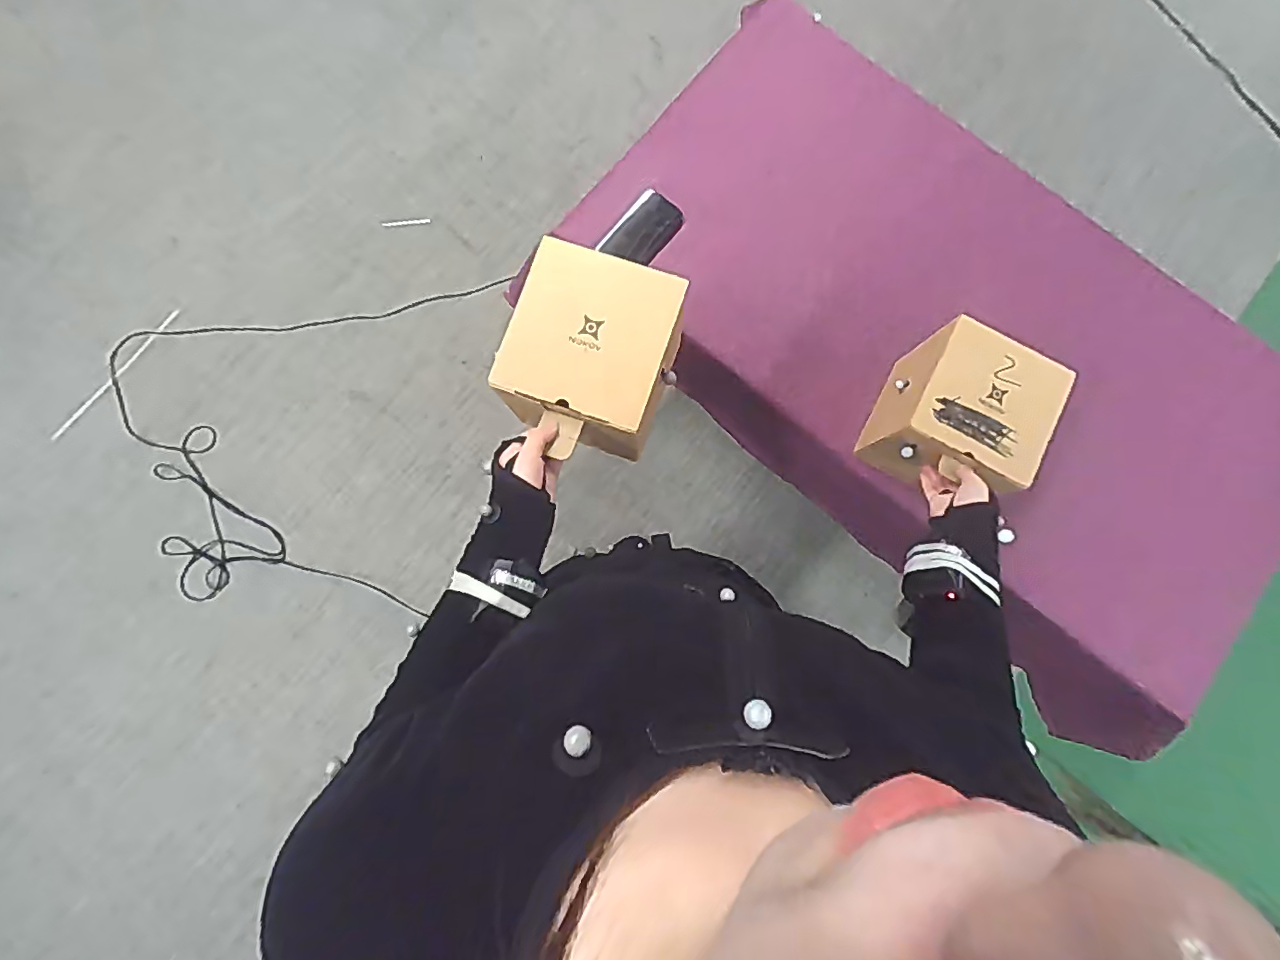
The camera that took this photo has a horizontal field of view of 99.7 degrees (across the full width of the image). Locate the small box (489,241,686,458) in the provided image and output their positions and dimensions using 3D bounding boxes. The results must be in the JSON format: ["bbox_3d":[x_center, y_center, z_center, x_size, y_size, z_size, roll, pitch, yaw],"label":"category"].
[{"bbox_3d":[-0.055,-0.142,0.648,0.168,0.176,0.179,19,84,3],"label":"small box"}]
